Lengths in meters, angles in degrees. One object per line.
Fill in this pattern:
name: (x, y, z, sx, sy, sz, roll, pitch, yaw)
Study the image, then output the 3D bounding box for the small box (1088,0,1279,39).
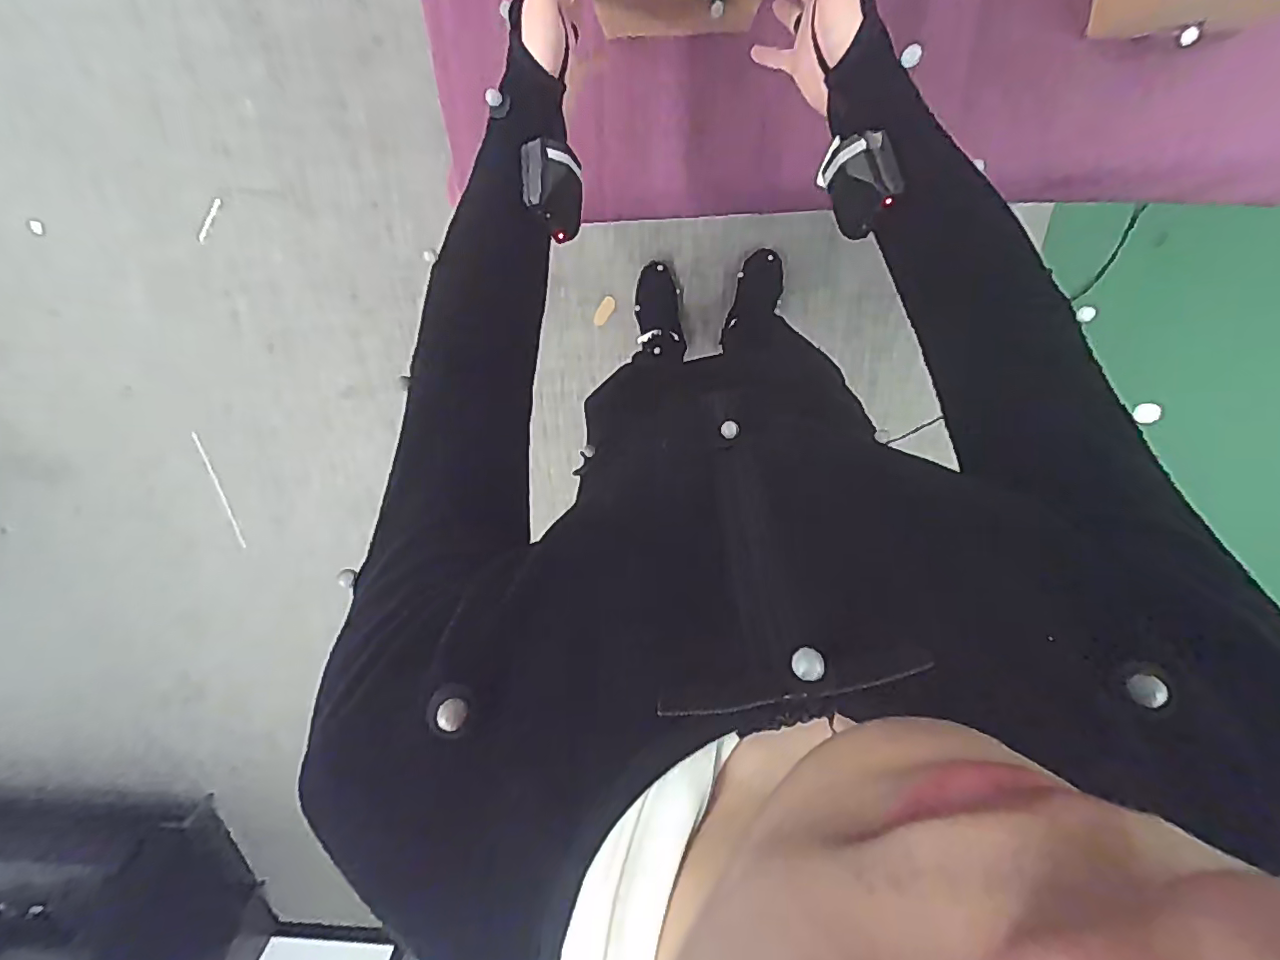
small box: (0.593, -0.548, 0.514, 0.179, 0.176, 0.168, -1, 116, 6)

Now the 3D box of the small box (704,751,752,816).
small box: (0.363, 1.267, 2.263, 0.179, 0.176, 0.168, 6, 117, 4)

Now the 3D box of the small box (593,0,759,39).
small box: (0.040, -0.577, 0.551, 0.179, 0.176, 0.168, 0, 117, 5)
